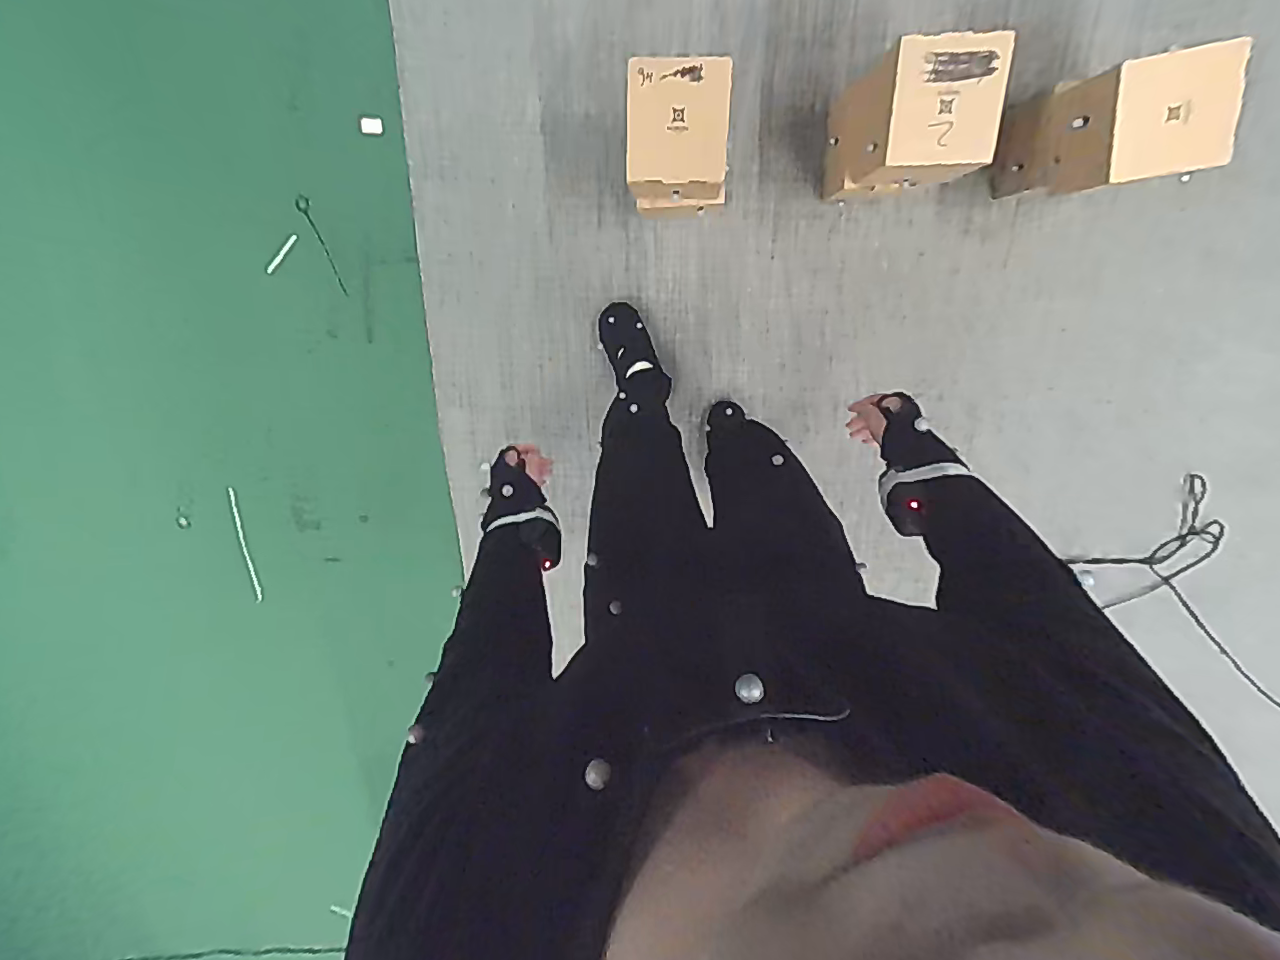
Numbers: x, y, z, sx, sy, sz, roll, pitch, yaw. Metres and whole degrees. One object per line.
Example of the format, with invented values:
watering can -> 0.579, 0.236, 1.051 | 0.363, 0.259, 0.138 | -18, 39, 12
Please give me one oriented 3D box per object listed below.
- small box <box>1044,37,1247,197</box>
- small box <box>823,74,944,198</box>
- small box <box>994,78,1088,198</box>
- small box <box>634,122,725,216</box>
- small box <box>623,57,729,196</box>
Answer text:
small box -> 0.808, -0.579, 0.888 | 0.179, 0.176, 0.168 | -7, 109, 7
small box -> 0.465, -0.662, 1.063 | 0.168, 0.176, 0.179 | 0, 109, 5
small box -> 0.818, -0.648, 1.036 | 0.179, 0.176, 0.168 | -2, 110, 6
small box -> 0.079, -0.642, 1.106 | 0.179, 0.176, 0.168 | -1, 109, 5
small box -> 0.062, -0.605, 0.946 | 0.168, 0.176, 0.179 | 3, 110, 4
